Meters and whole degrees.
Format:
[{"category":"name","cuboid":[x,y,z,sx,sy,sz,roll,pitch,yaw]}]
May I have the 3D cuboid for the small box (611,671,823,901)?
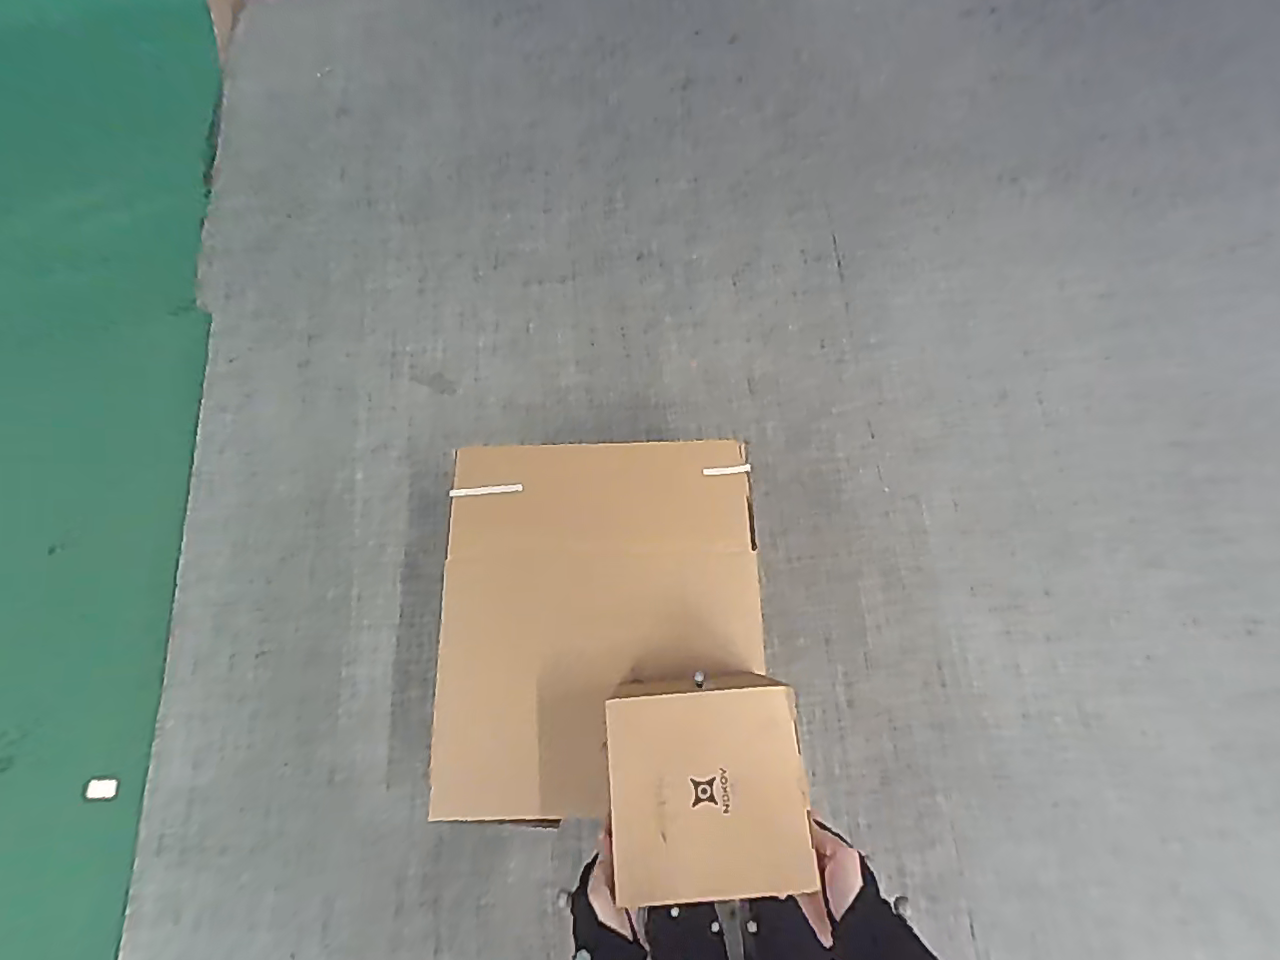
[{"category":"small box","cuboid":[0.064,0.291,0.553,0.179,0.176,0.168,-5,74,-1]}]
